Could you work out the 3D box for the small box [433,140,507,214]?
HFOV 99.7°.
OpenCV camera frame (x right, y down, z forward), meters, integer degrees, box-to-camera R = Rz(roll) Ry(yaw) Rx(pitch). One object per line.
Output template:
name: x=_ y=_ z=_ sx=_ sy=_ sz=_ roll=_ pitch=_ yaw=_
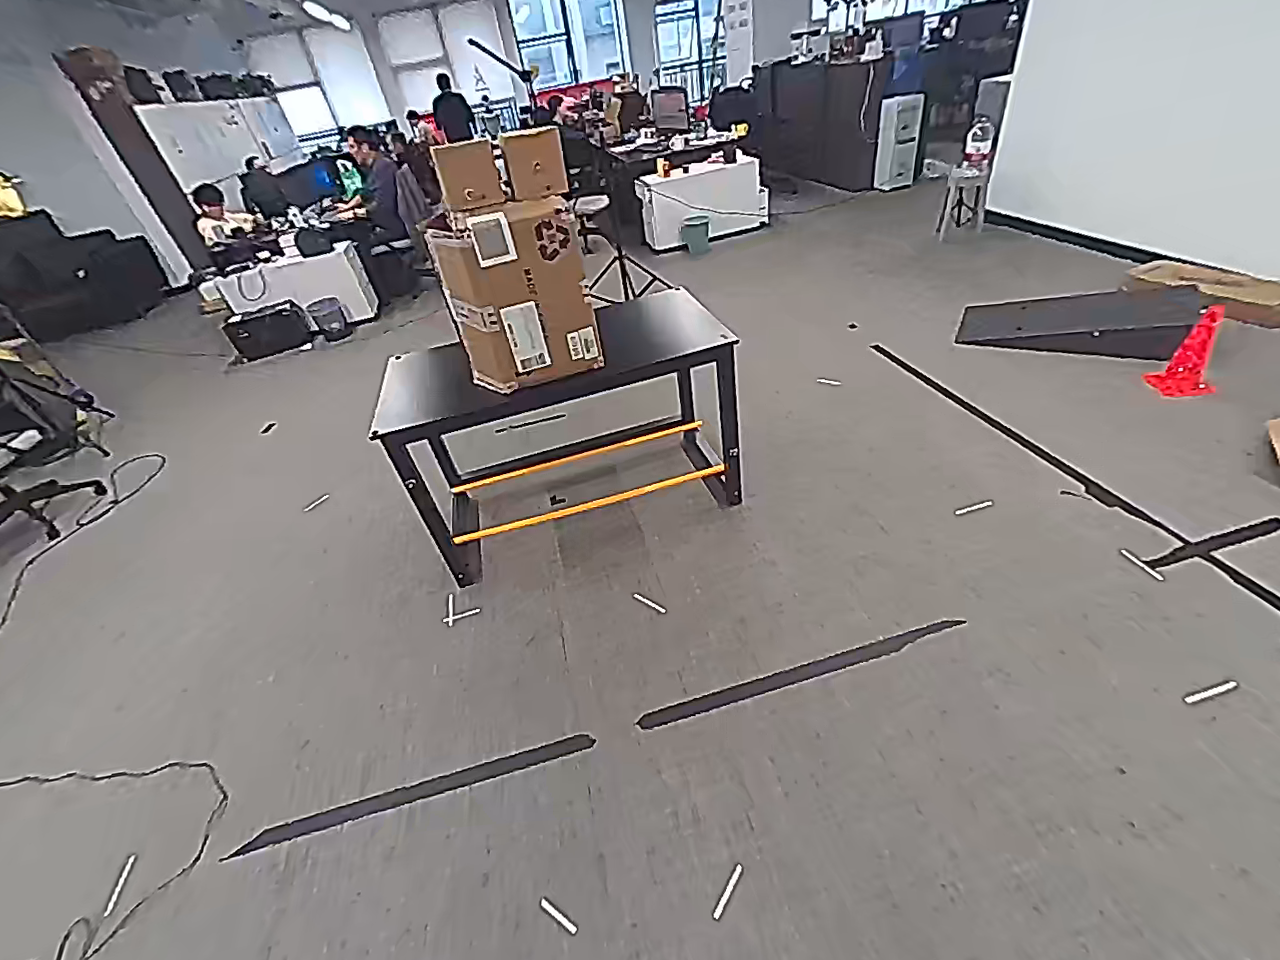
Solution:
small box: x=-0.519 y=-0.922 z=1.647 sx=0.168 sy=0.176 sz=0.179 roll=-20 pitch=37 yaw=-12
